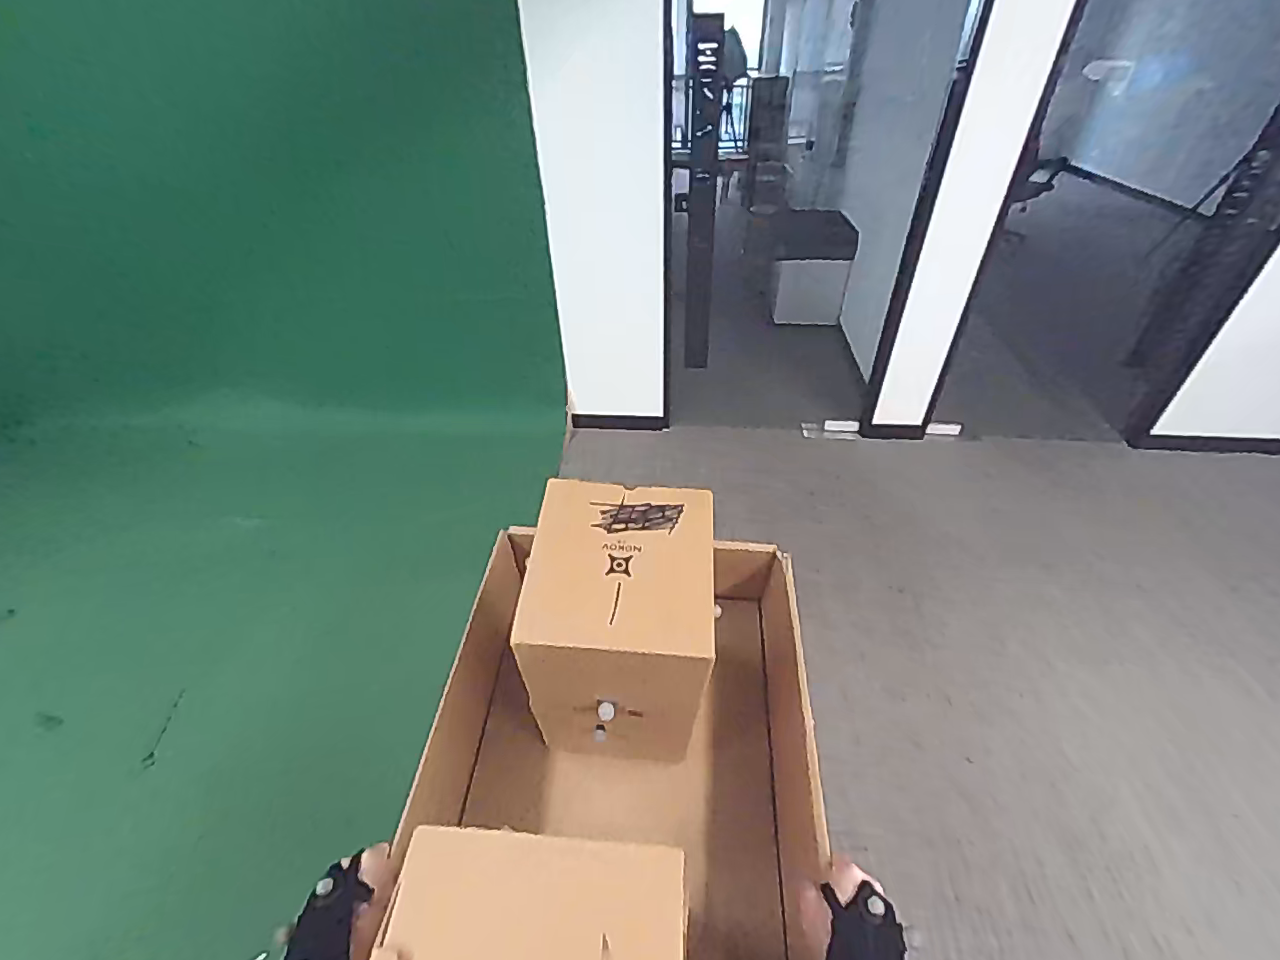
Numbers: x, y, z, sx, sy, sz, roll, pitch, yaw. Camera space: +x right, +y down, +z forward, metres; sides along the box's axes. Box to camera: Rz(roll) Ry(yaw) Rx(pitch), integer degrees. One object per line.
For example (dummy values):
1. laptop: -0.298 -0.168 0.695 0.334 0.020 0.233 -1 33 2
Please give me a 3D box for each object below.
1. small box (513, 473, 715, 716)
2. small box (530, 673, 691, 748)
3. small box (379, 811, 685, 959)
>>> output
1. small box: -0.017 0.117 0.545 0.168 0.176 0.179 4 51 2
2. small box: -0.021 0.221 0.673 0.179 0.176 0.168 3 50 4
3. small box: -0.065 0.336 0.357 0.179 0.176 0.168 4 49 0
